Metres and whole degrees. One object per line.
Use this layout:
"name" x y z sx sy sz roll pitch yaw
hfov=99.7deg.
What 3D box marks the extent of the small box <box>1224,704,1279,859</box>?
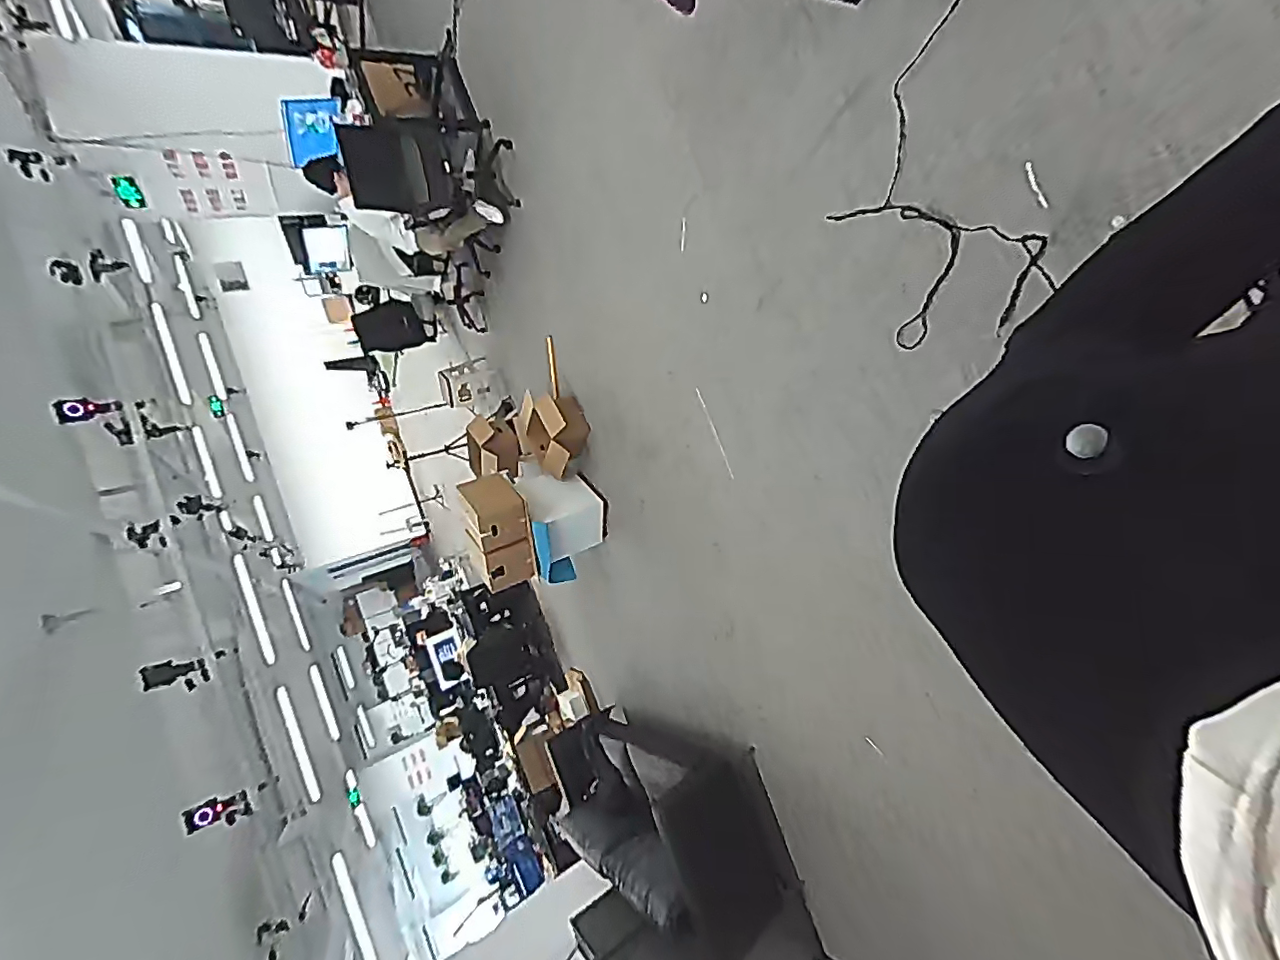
"small box" 1.068 0.481 0.833 0.168 0.176 0.179 -21 89 61
